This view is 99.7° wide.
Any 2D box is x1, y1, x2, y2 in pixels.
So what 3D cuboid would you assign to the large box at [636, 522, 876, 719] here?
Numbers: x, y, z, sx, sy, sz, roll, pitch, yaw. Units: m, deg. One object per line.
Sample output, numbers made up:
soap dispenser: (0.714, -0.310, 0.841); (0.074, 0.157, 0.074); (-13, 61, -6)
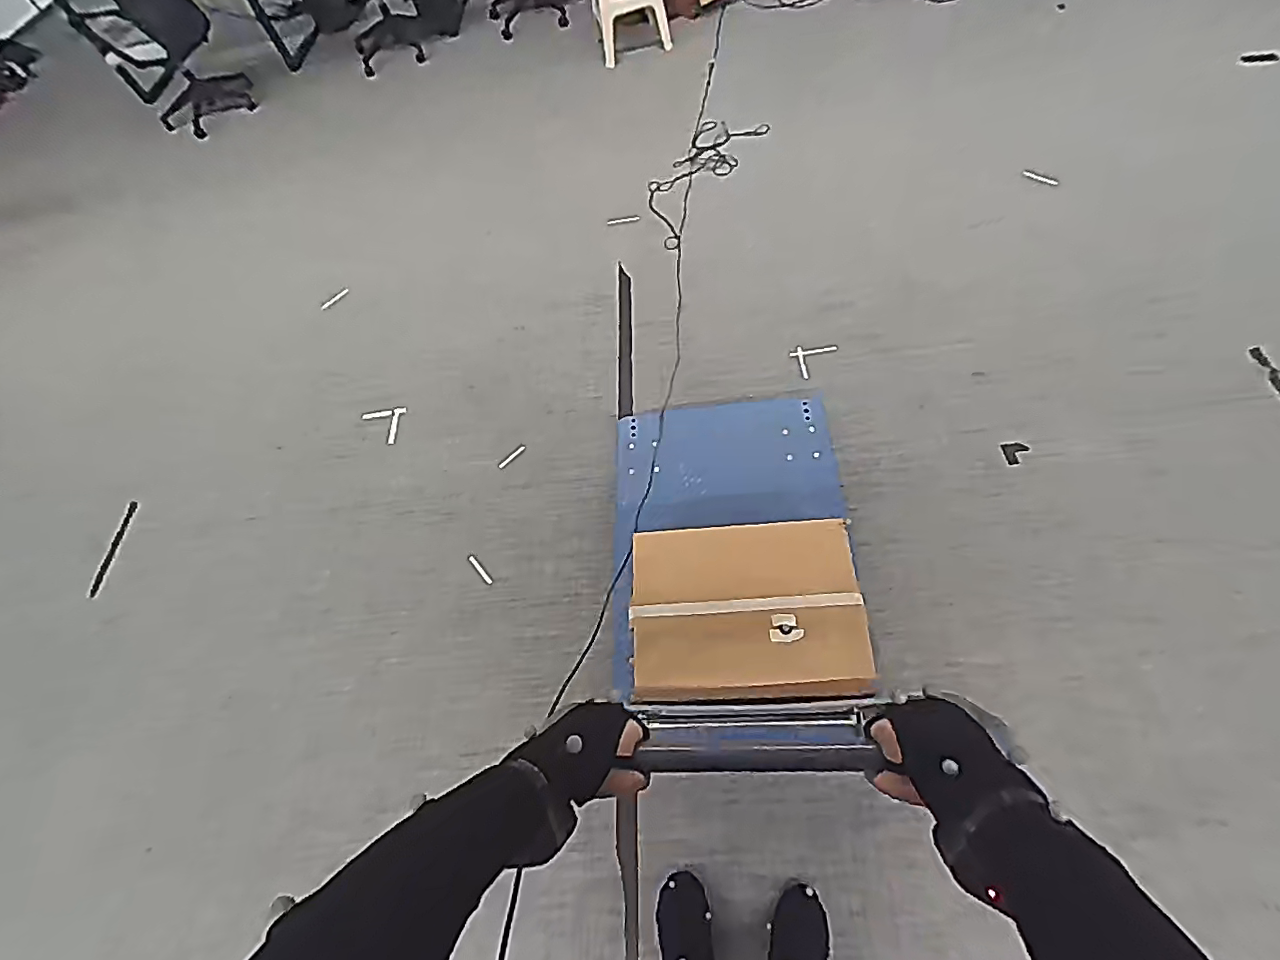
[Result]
large box: (0.213, 0.305, 1.115); (0.408, 0.320, 0.320); (-5, 62, 7)
